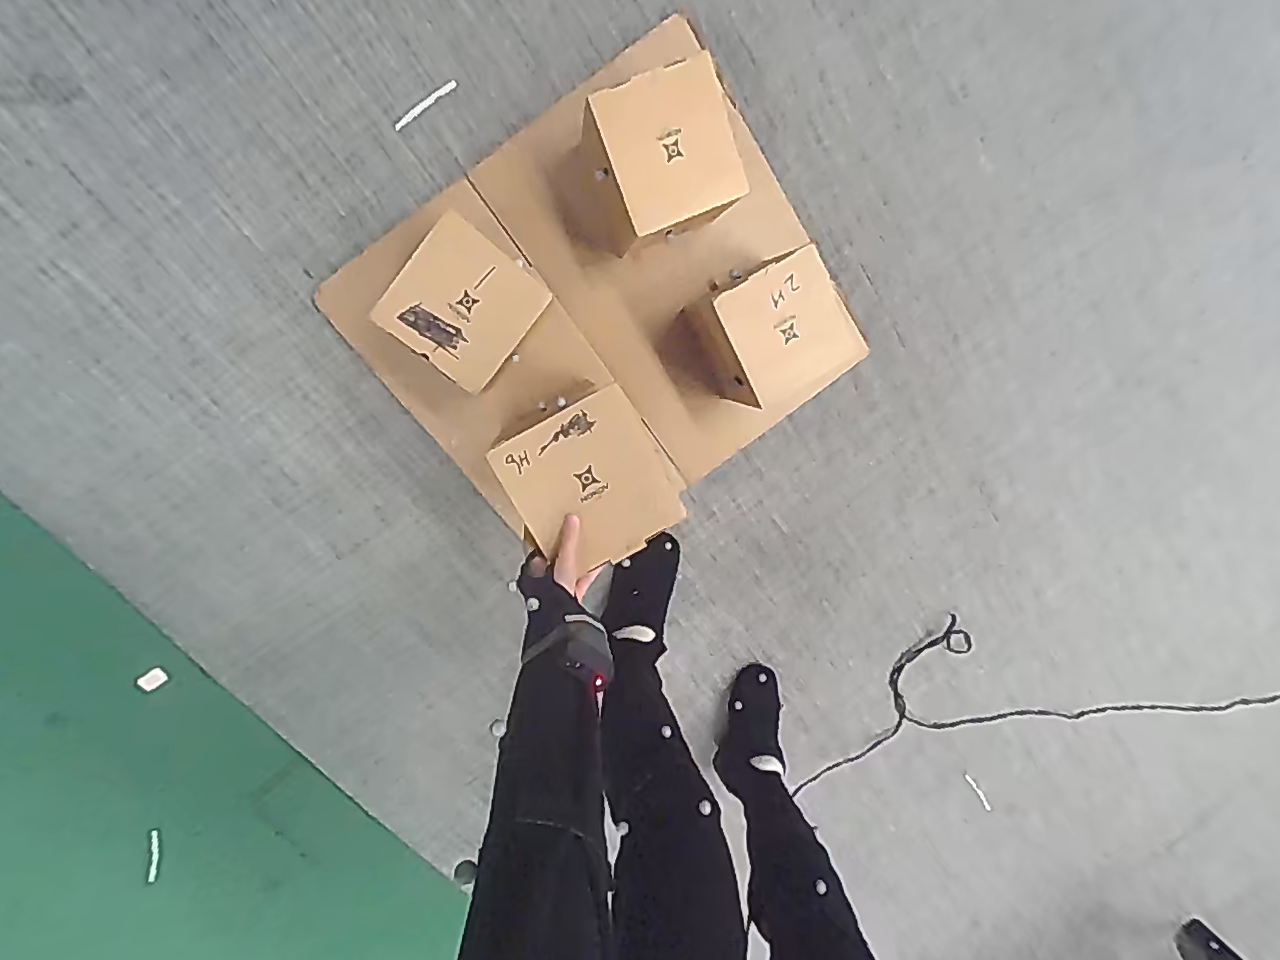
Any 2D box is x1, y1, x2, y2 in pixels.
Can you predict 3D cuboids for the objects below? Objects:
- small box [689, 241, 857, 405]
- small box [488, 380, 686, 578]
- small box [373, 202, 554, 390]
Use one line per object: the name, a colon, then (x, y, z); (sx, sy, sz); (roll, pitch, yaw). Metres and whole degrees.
small box: (0.196, -0.237, 0.838); (0.168, 0.176, 0.179); (-30, 105, -1)
small box: (-0.065, -0.011, 0.677); (0.168, 0.176, 0.179); (-29, 100, -4)
small box: (-0.237, -0.250, 0.775); (0.168, 0.176, 0.179); (39, 94, -15)
